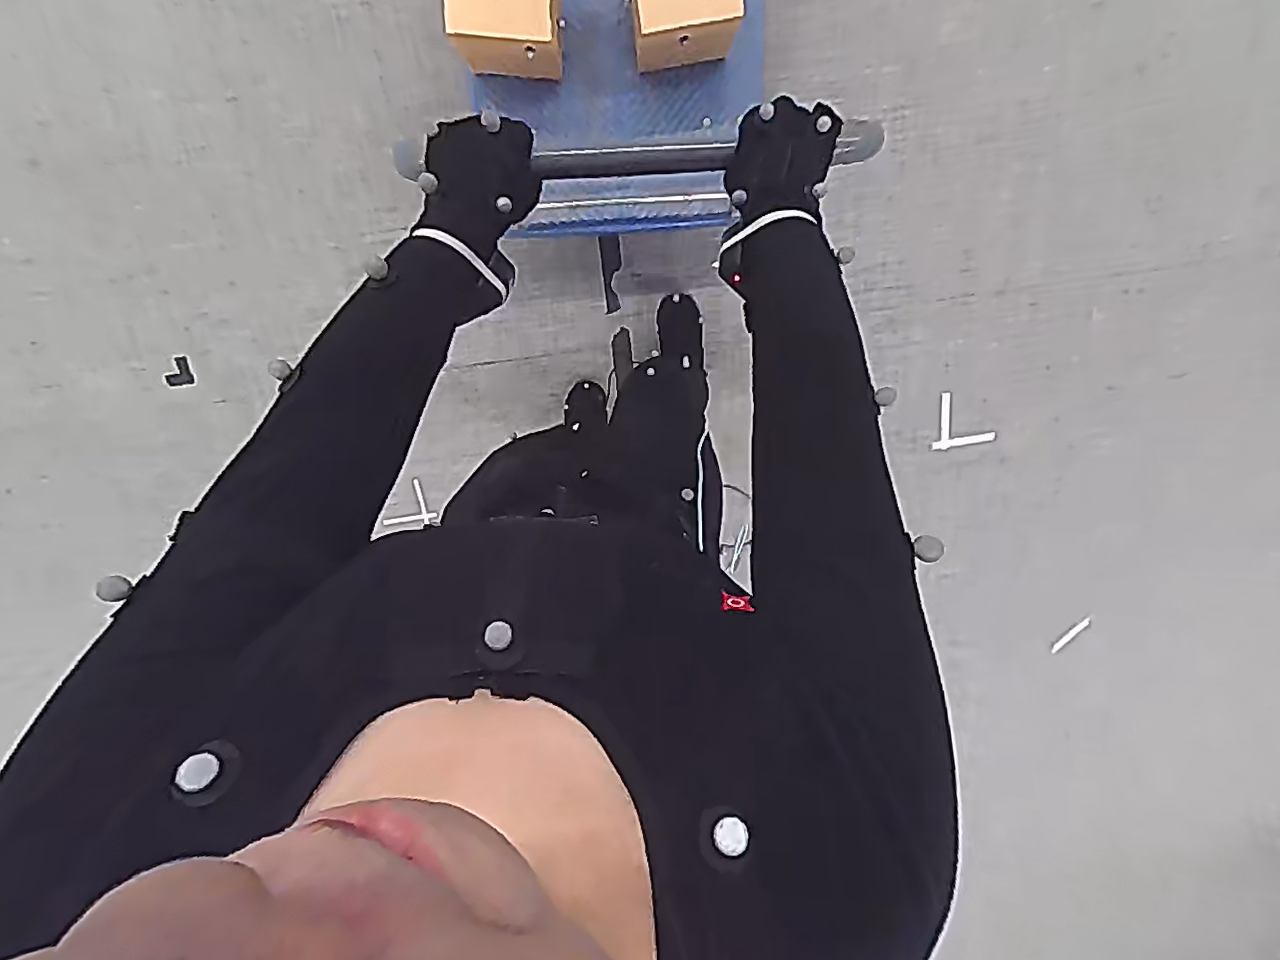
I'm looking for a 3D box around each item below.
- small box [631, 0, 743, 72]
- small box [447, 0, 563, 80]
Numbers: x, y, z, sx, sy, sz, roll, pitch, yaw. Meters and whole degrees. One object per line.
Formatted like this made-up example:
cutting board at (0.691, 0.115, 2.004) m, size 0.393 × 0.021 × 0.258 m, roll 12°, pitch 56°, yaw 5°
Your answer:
small box at (0.074, -0.855, 0.953) m, size 0.179 × 0.176 × 0.168 m, roll -9°, pitch 110°, yaw 1°
small box at (-0.230, -0.833, 0.949) m, size 0.179 × 0.176 × 0.168 m, roll 1°, pitch 109°, yaw -4°
